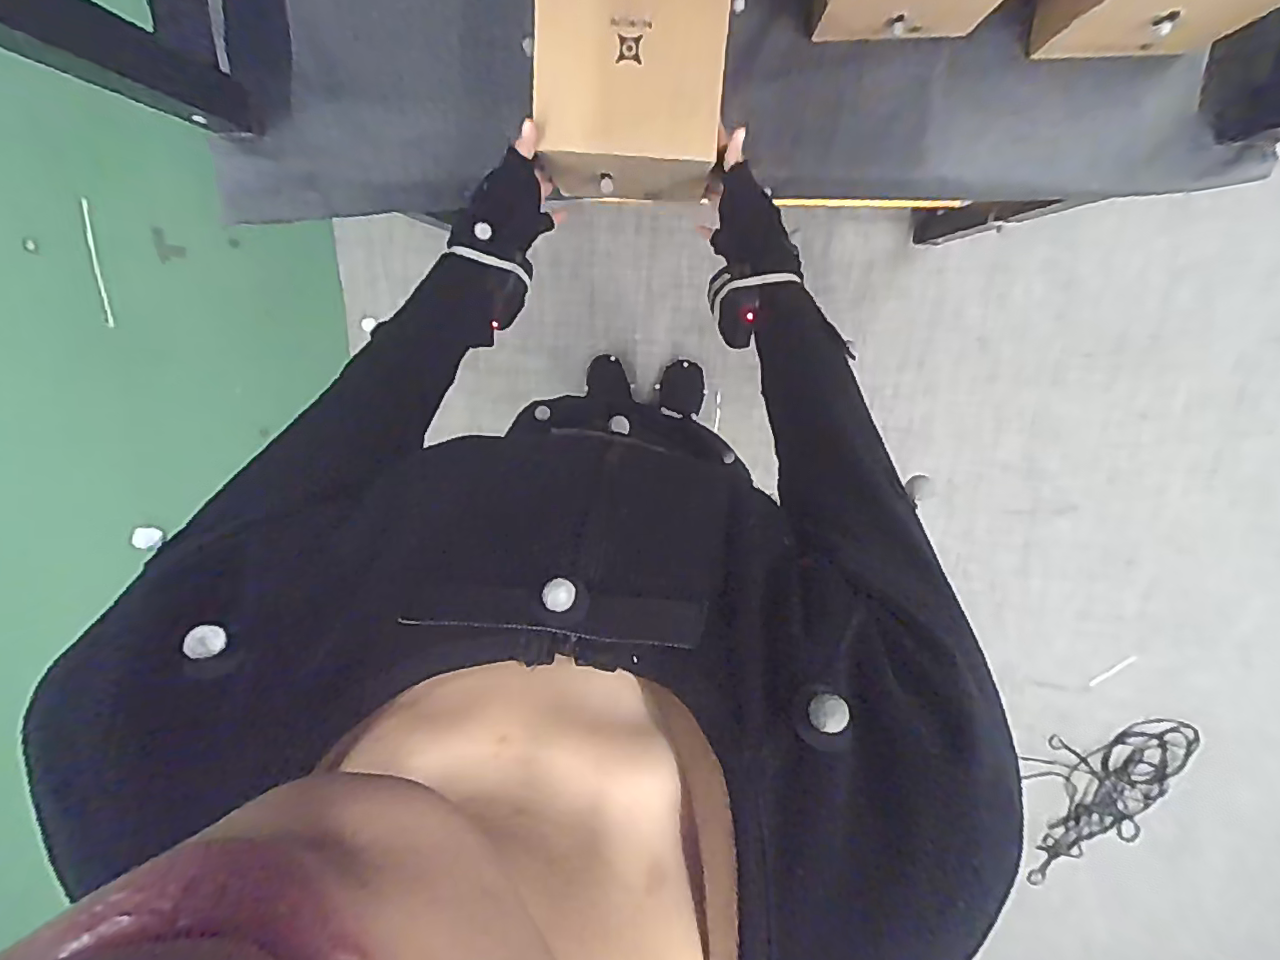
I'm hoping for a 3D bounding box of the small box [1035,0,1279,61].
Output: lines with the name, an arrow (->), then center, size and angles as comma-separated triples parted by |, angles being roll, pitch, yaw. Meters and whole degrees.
small box -> 0.495, -0.505, 0.480 | 0.168, 0.176, 0.179 | 1, 106, 3
